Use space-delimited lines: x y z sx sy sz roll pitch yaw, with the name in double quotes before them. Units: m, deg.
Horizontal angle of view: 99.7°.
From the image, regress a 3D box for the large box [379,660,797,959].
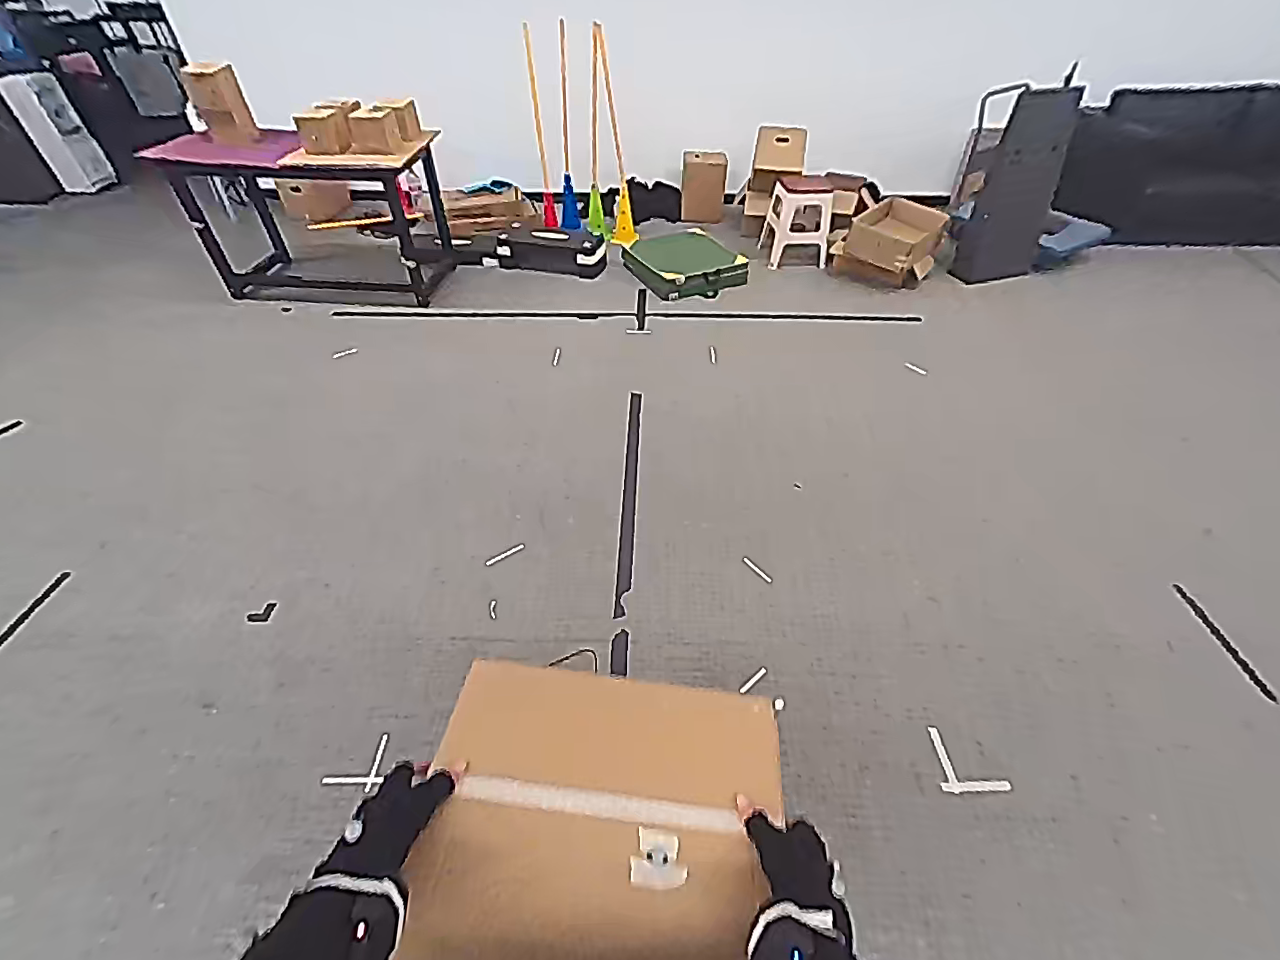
"large box" -0.047 0.475 0.706 0.408 0.320 0.320 7 40 3
